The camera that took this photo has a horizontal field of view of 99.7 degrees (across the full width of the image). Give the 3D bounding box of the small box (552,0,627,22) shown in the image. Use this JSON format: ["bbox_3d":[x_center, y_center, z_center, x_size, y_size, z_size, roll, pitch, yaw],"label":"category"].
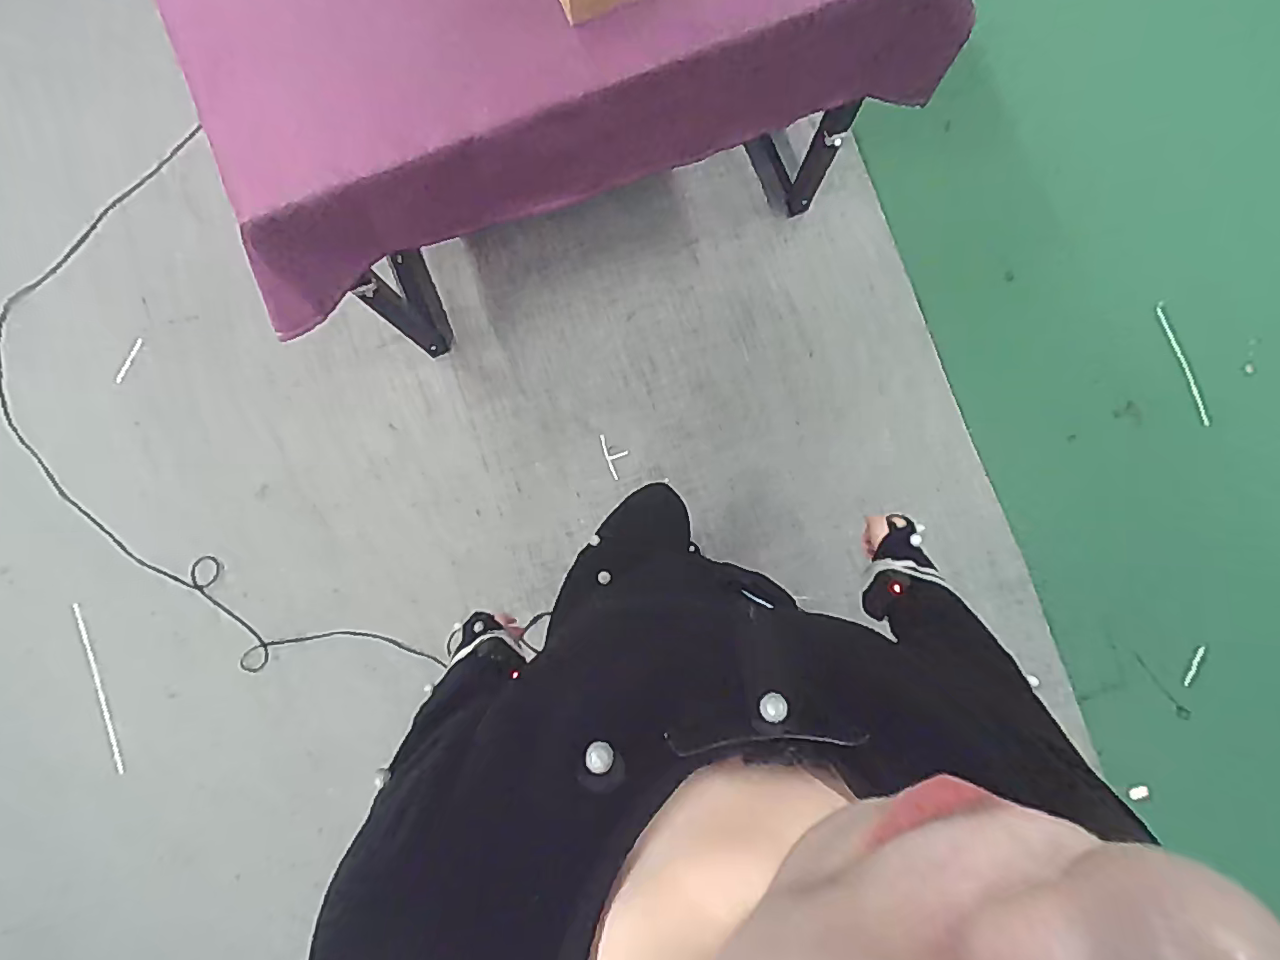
[{"bbox_3d":[-0.073,-0.839,0.791,0.179,0.176,0.168,-24,84,-1],"label":"small box"}]
